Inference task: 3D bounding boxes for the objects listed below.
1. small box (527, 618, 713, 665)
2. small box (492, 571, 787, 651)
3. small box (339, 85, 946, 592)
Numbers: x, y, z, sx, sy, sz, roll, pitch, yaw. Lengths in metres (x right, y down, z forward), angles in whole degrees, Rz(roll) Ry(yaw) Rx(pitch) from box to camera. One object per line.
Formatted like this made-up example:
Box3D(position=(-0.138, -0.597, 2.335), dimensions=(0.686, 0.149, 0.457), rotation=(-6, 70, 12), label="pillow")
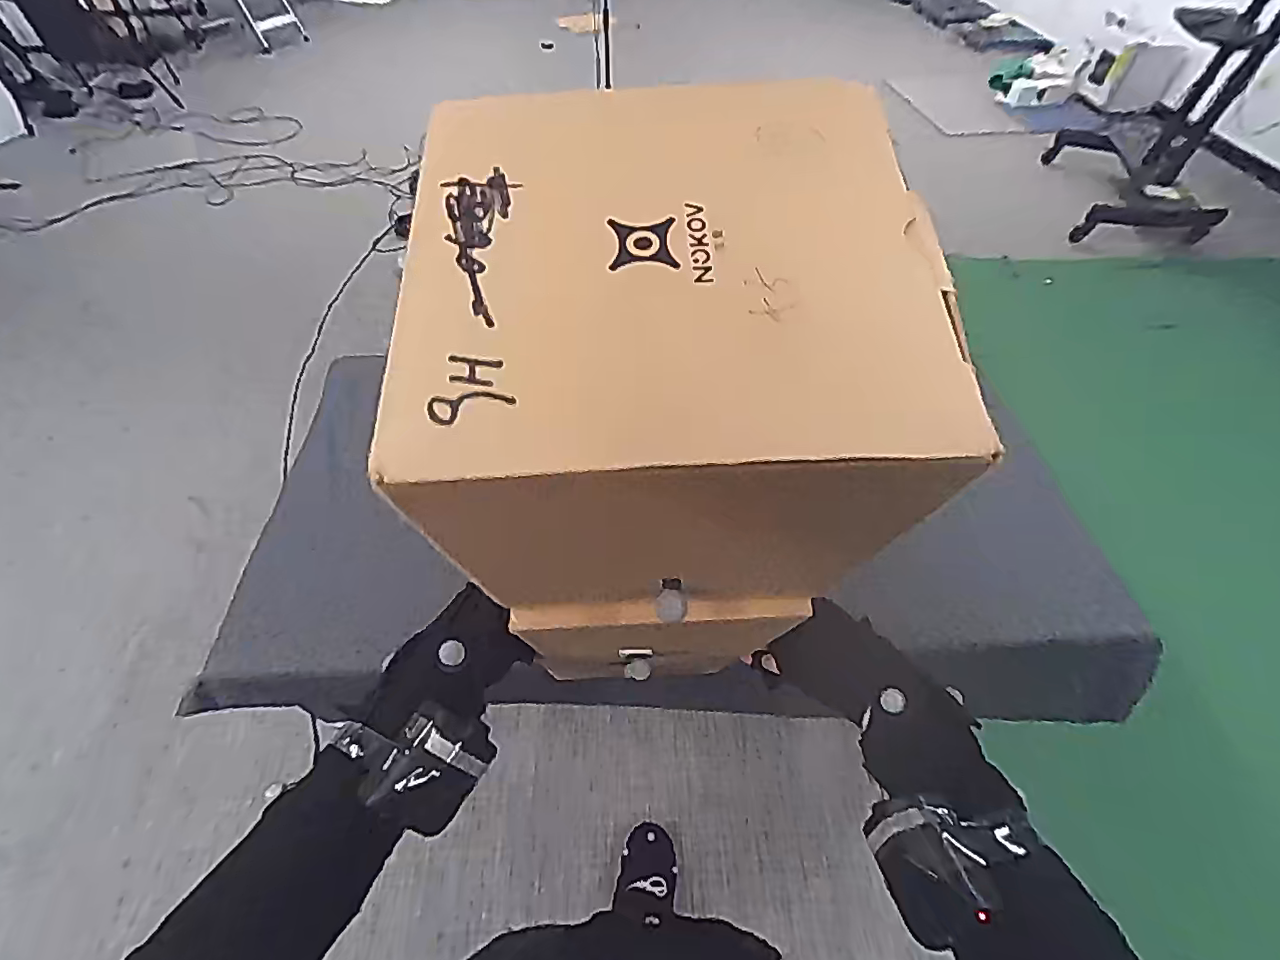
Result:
Box3D(position=(-0.010, 0.093, 0.550), dimensions=(0.179, 0.176, 0.168), rotation=(-1, 65, -2), label="small box")
Box3D(position=(-0.002, 0.025, 0.403), dimensions=(0.168, 0.176, 0.179), rotation=(-1, 66, 0), label="small box")
Box3D(position=(-0.001, -0.047, 0.257), dimensions=(0.179, 0.176, 0.168), rotation=(-2, 65, -1), label="small box")
